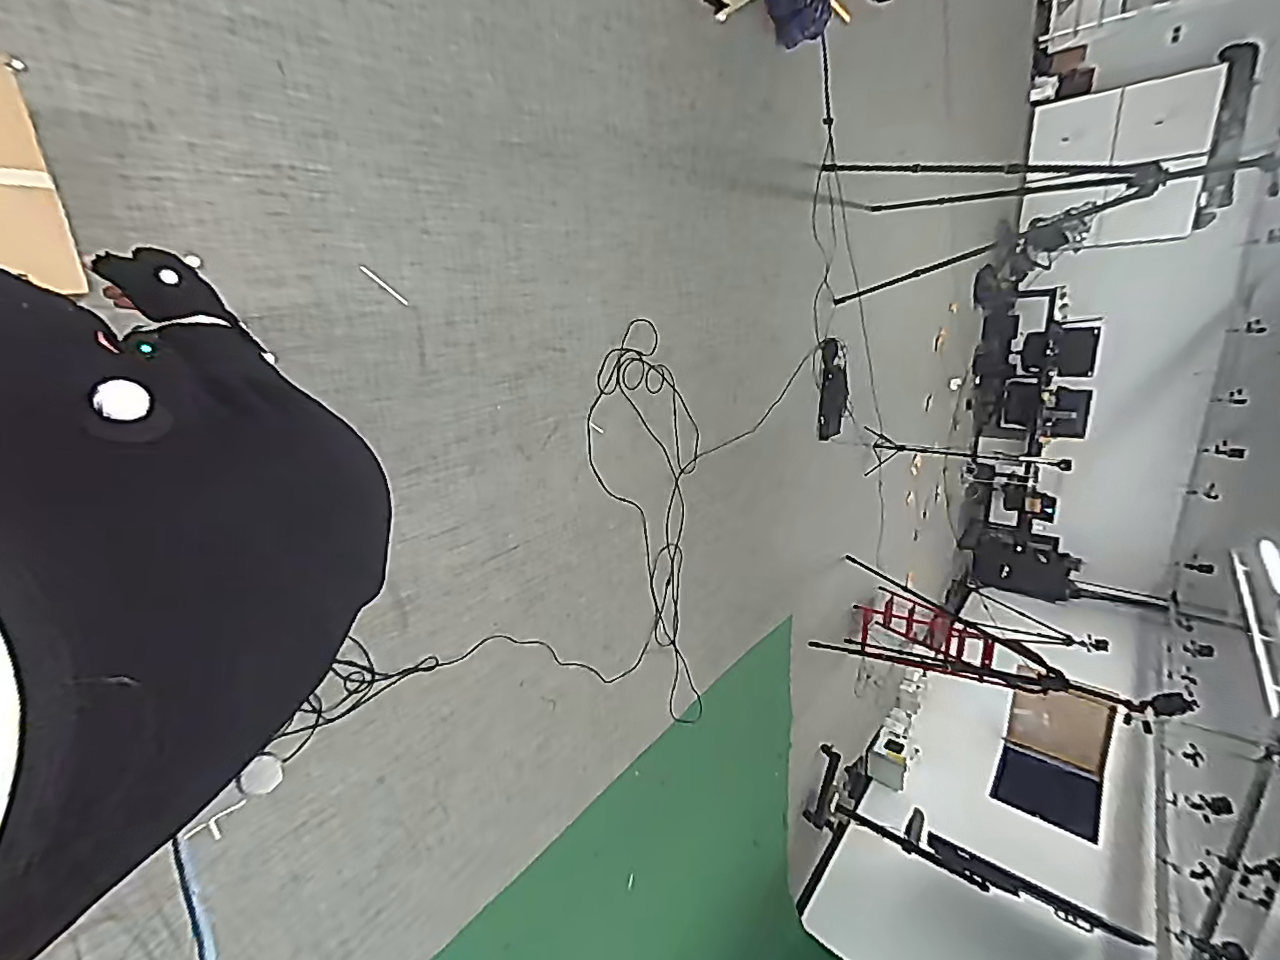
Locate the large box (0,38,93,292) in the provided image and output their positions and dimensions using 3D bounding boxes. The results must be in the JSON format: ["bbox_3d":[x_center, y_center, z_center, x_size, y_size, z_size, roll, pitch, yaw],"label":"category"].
[{"bbox_3d":[-1.096,-0.429,0.748,0.408,0.320,0.320,-22,116,-44],"label":"large box"}]
